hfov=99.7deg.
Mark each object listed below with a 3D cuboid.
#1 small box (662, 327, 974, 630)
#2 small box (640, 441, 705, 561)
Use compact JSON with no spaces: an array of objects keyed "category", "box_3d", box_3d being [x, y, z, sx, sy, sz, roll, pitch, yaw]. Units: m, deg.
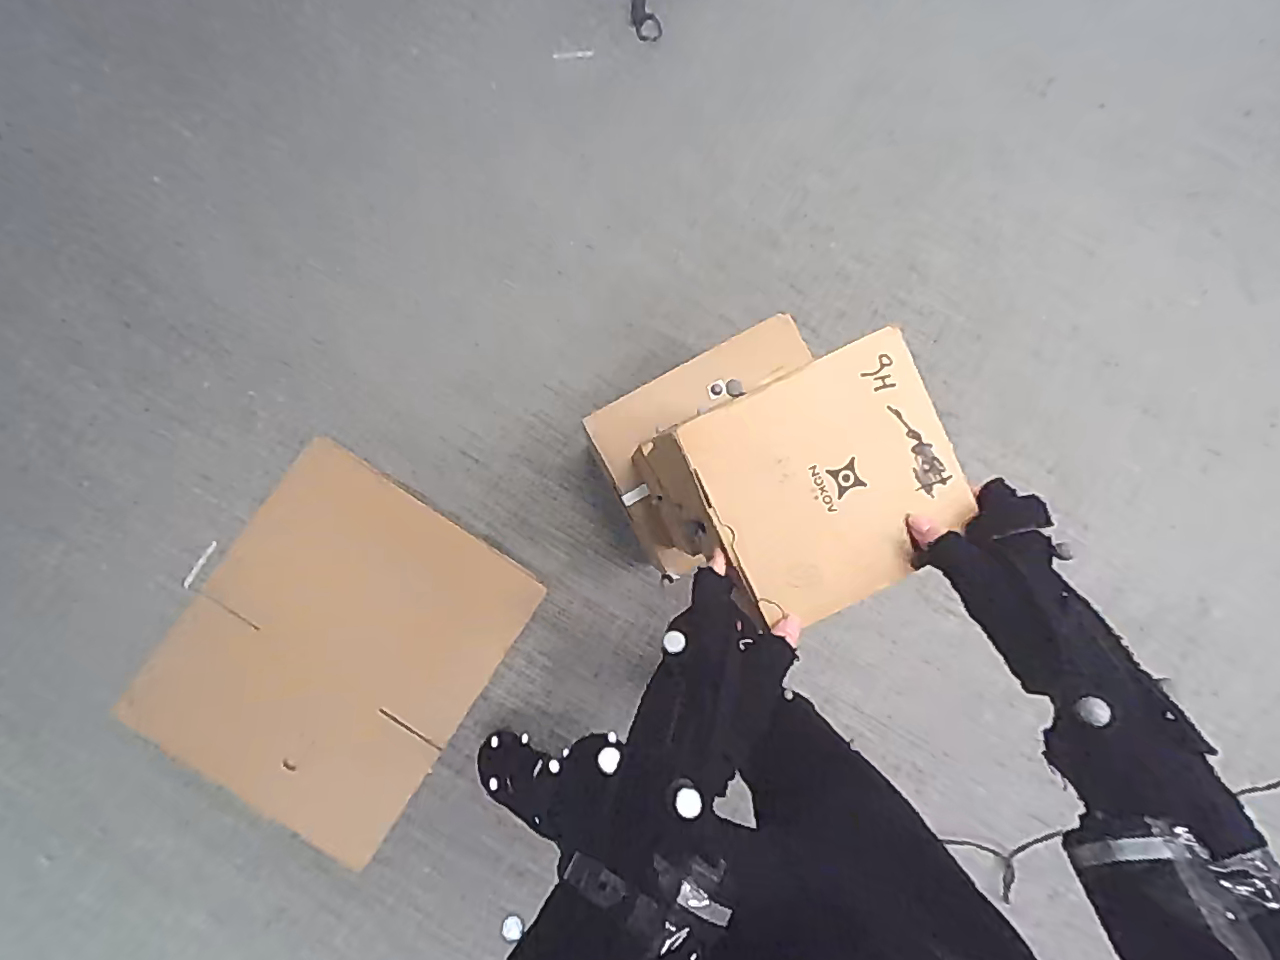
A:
[{"category":"small box","box_3d":[0.128,0.001,0.470,0.179,0.176,0.168,-29,91,-3]},{"category":"small box","box_3d":[0.107,0.008,0.836,0.168,0.176,0.179,-26,89,-4]}]
